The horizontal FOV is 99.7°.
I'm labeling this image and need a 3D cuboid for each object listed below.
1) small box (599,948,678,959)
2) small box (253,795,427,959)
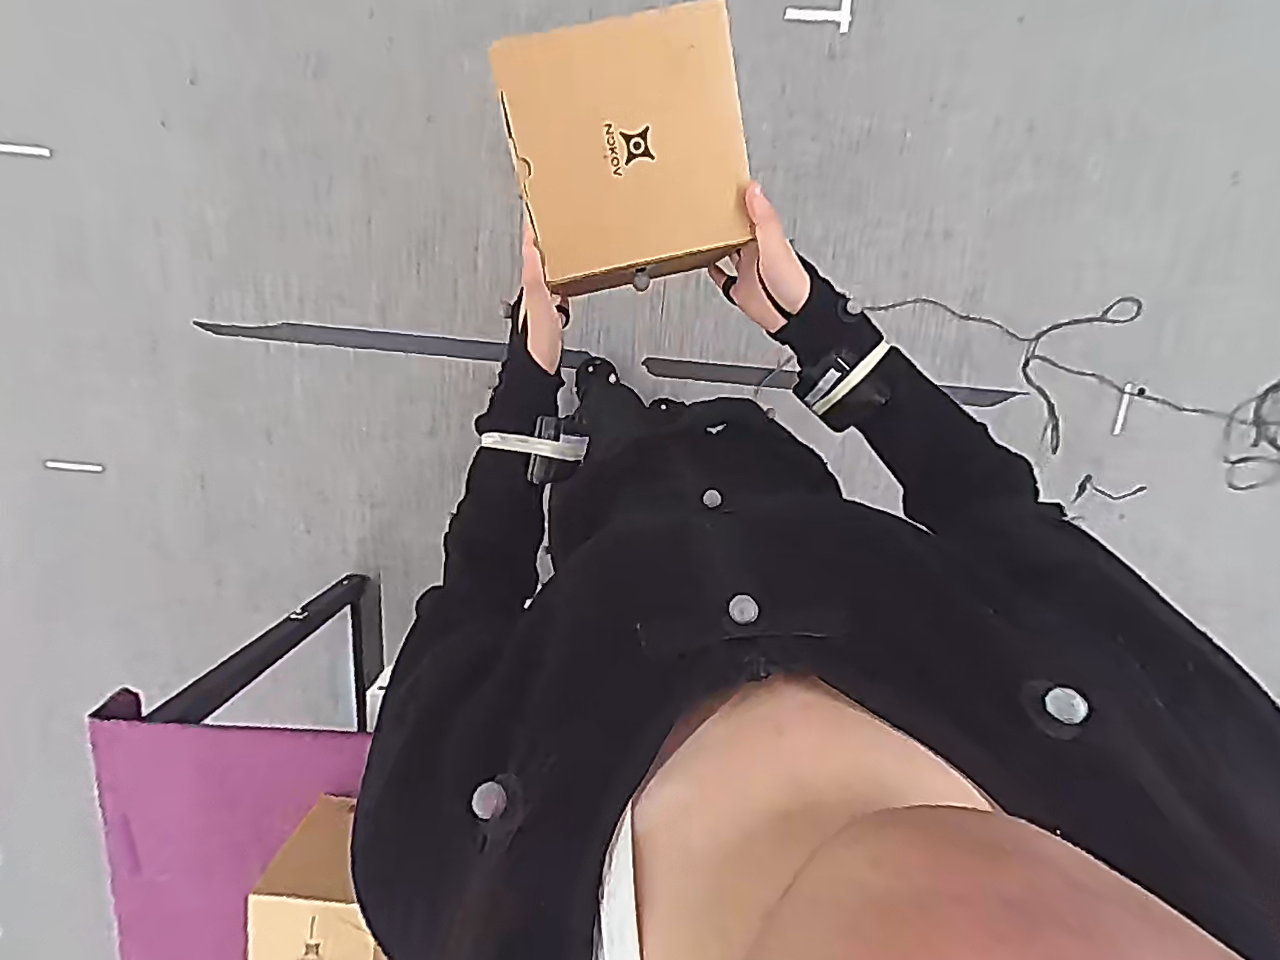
[{"bbox_3d":[0.000,0.898,0.846,0.168,0.176,0.179,10,98,-3],"label":"small box"},{"bbox_3d":[-0.425,0.606,0.790,0.168,0.176,0.179,7,101,-2],"label":"small box"}]
